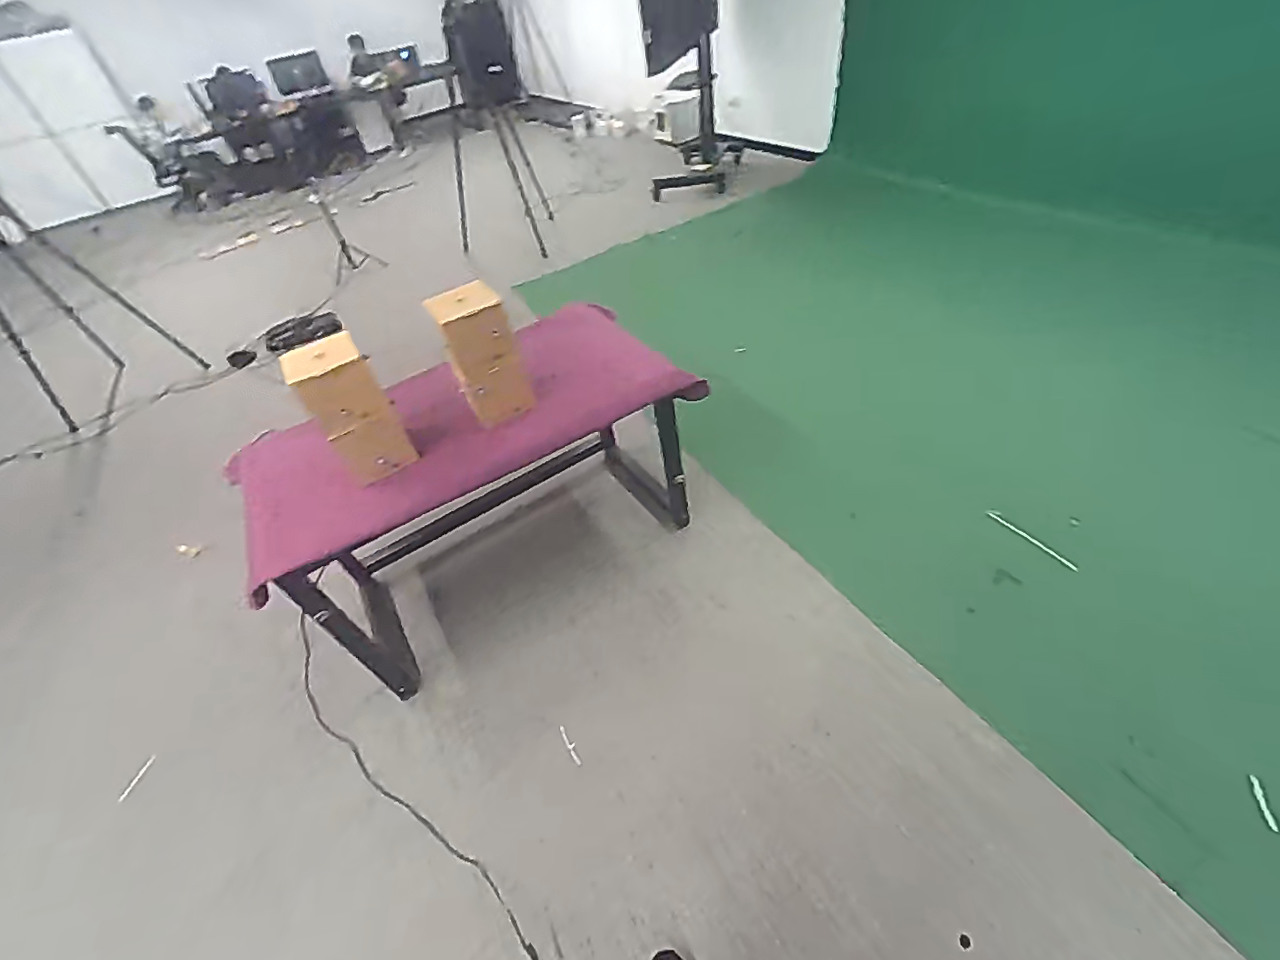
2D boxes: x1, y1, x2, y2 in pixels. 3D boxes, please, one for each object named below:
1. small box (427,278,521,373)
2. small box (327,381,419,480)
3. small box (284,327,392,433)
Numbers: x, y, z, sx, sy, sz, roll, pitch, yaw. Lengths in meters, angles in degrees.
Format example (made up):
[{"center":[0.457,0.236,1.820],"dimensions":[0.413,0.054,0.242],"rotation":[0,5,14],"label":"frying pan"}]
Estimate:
[{"center":[-0.437,-0.407,1.437],"dimensions":[0.168,0.176,0.179],"rotation":[-28,46,-17],"label":"small box"},{"center":[-0.719,-0.131,1.448],"dimensions":[0.168,0.176,0.179],"rotation":[-28,47,-16],"label":"small box"},{"center":[-0.742,-0.246,1.336],"dimensions":[0.168,0.176,0.179],"rotation":[-28,48,-18],"label":"small box"}]
